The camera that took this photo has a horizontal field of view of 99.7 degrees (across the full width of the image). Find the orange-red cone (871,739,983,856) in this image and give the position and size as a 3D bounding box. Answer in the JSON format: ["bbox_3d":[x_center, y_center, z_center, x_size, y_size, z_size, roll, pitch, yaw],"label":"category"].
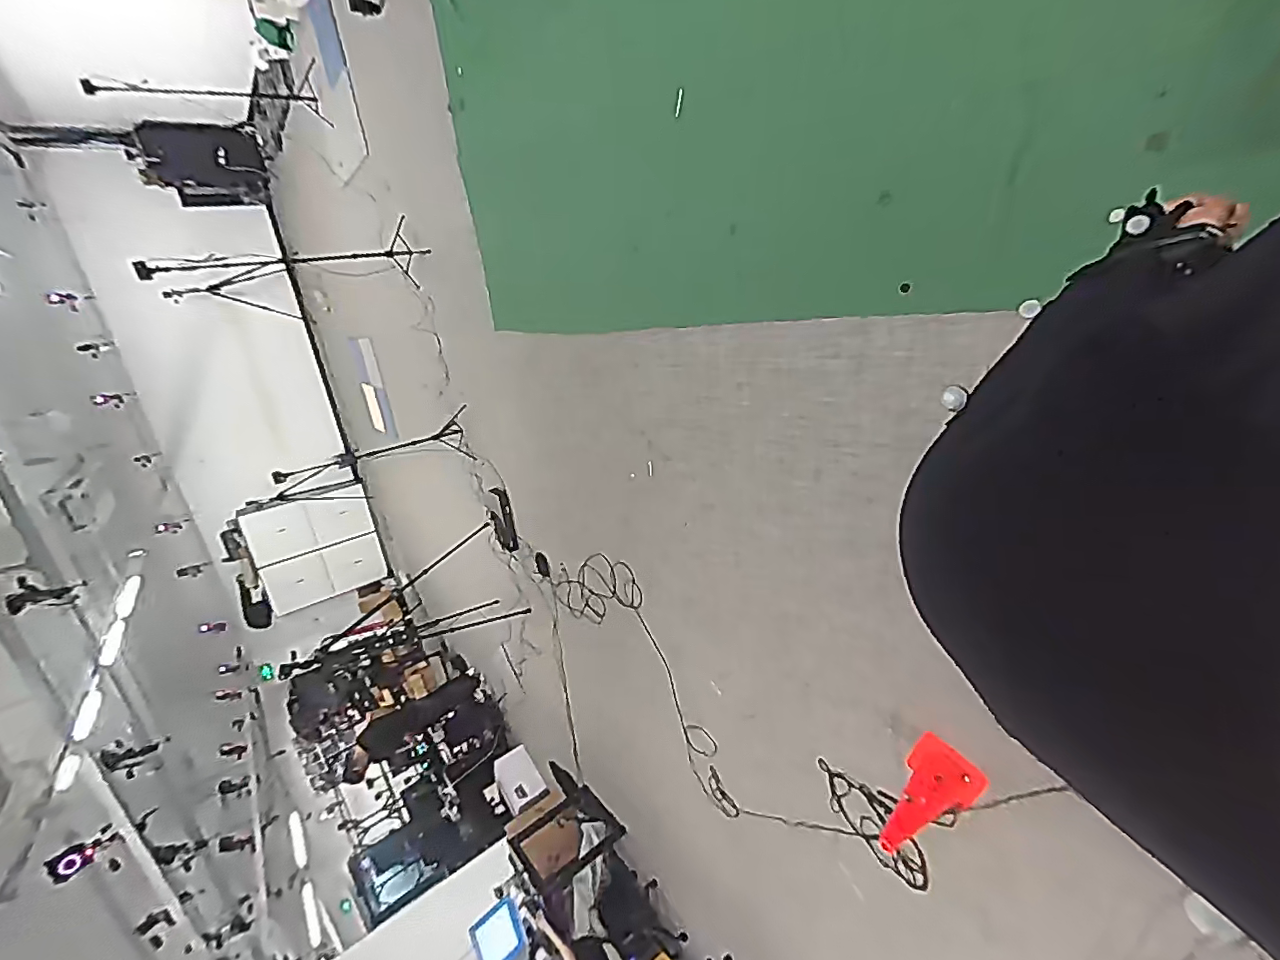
[{"bbox_3d":[0.783,0.959,1.565,0.199,0.360,0.198,41,136,39],"label":"orange-red cone"}]
